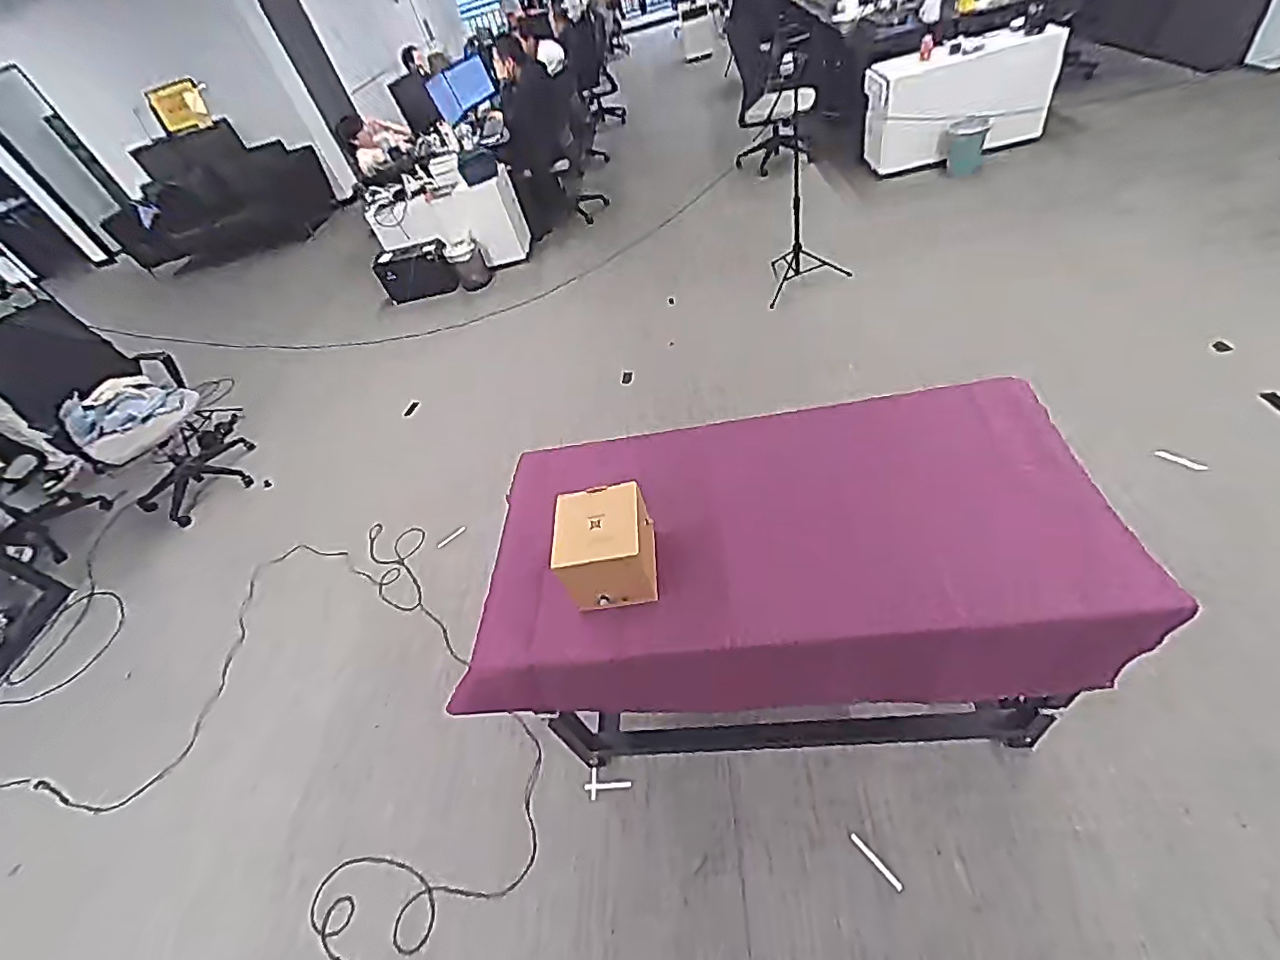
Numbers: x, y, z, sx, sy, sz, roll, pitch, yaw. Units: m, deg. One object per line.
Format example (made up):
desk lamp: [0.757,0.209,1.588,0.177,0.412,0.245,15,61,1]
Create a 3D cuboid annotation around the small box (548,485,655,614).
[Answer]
small box: [-0.068,0.139,1.064,0.168,0.176,0.179,-10,46,9]
